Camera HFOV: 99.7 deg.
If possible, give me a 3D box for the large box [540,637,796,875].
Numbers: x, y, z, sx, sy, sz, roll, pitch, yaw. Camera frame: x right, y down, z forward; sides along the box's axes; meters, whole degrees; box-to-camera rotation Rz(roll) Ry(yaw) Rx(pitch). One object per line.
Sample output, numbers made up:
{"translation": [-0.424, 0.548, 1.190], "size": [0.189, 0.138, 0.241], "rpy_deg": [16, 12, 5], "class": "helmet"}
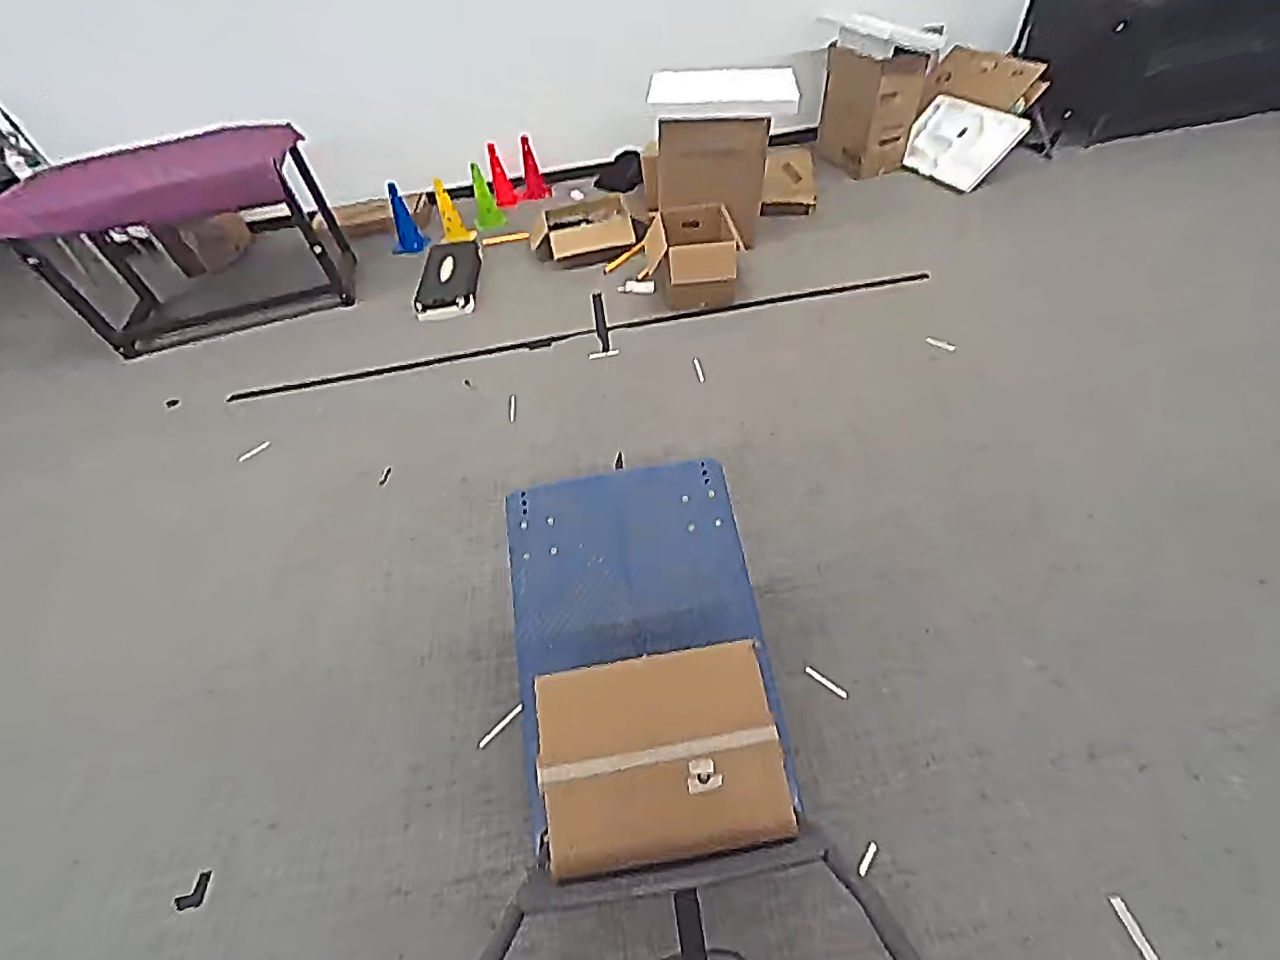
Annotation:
{"translation": [0.040, 0.523, 1.076], "size": [0.408, 0.320, 0.320], "rpy_deg": [-10, 69, -3], "class": "large box"}
